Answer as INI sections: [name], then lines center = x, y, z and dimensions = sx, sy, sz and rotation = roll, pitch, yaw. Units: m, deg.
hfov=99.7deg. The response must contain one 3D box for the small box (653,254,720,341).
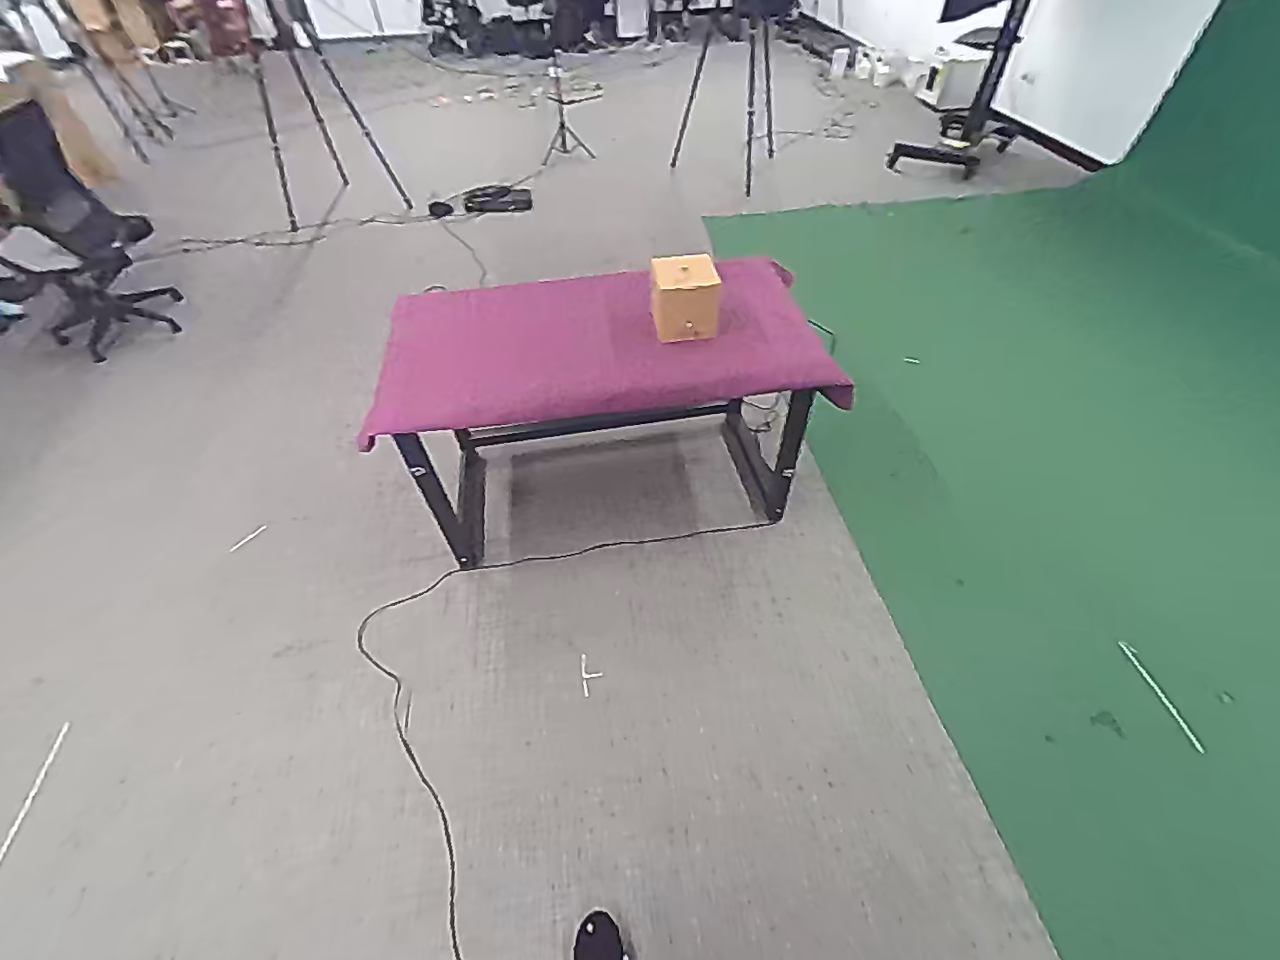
[small box]
center = 0.126, -0.519, 1.536
dimensions = 0.168, 0.176, 0.179
rotation = -6, 49, -2
